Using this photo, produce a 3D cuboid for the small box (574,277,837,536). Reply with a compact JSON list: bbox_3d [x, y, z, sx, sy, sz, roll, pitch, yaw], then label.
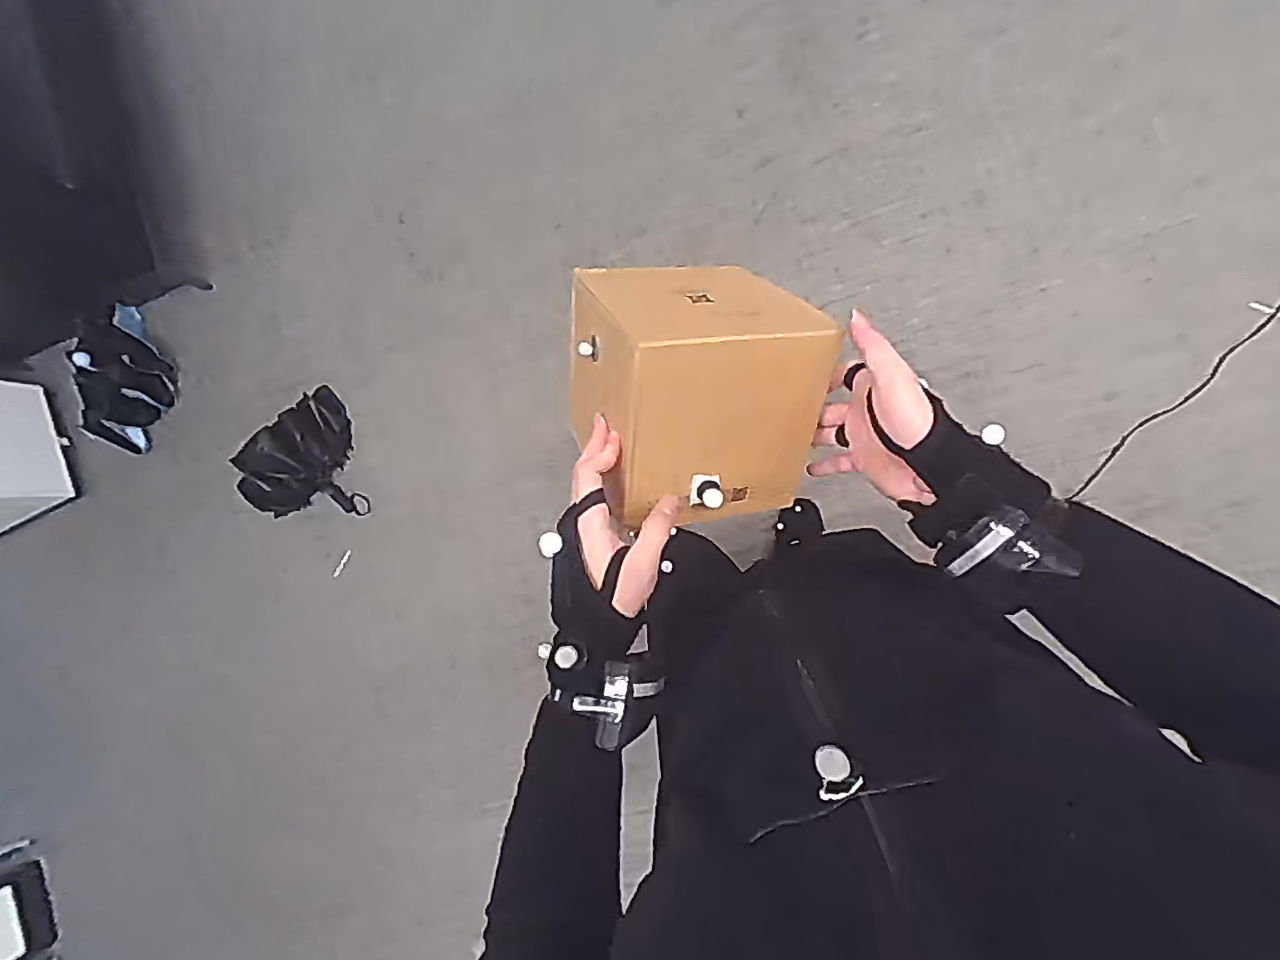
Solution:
[{"bbox_3d":[0.038,-0.075,0.490,0.168,0.179,0.176,-9,128,-19],"label":"small box"}]
